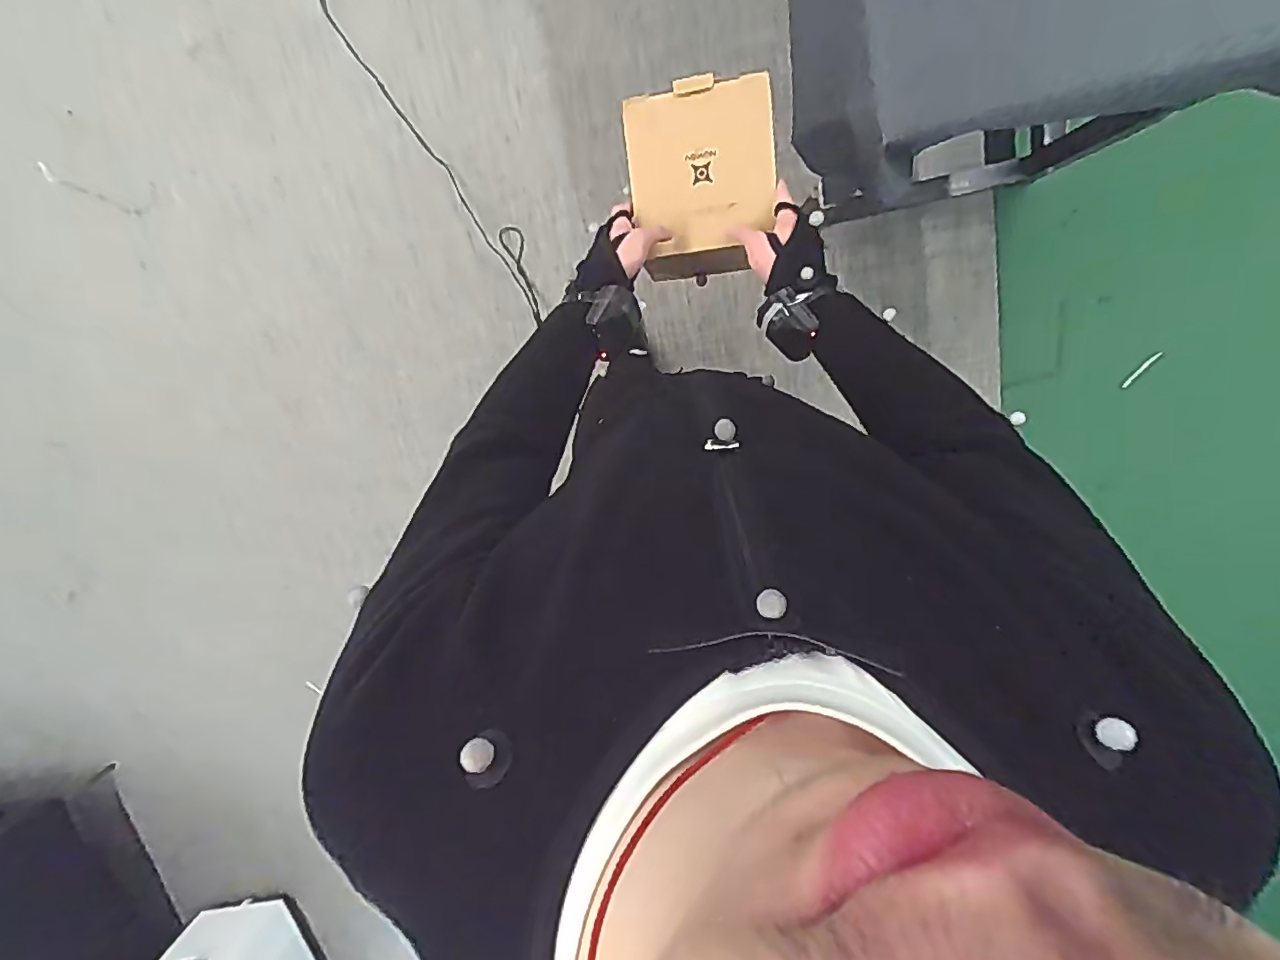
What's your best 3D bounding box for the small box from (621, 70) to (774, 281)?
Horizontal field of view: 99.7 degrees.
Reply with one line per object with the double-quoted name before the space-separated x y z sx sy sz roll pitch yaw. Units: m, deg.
"small box" 0.075 -0.360 0.675 0.168 0.176 0.179 -3 101 10
